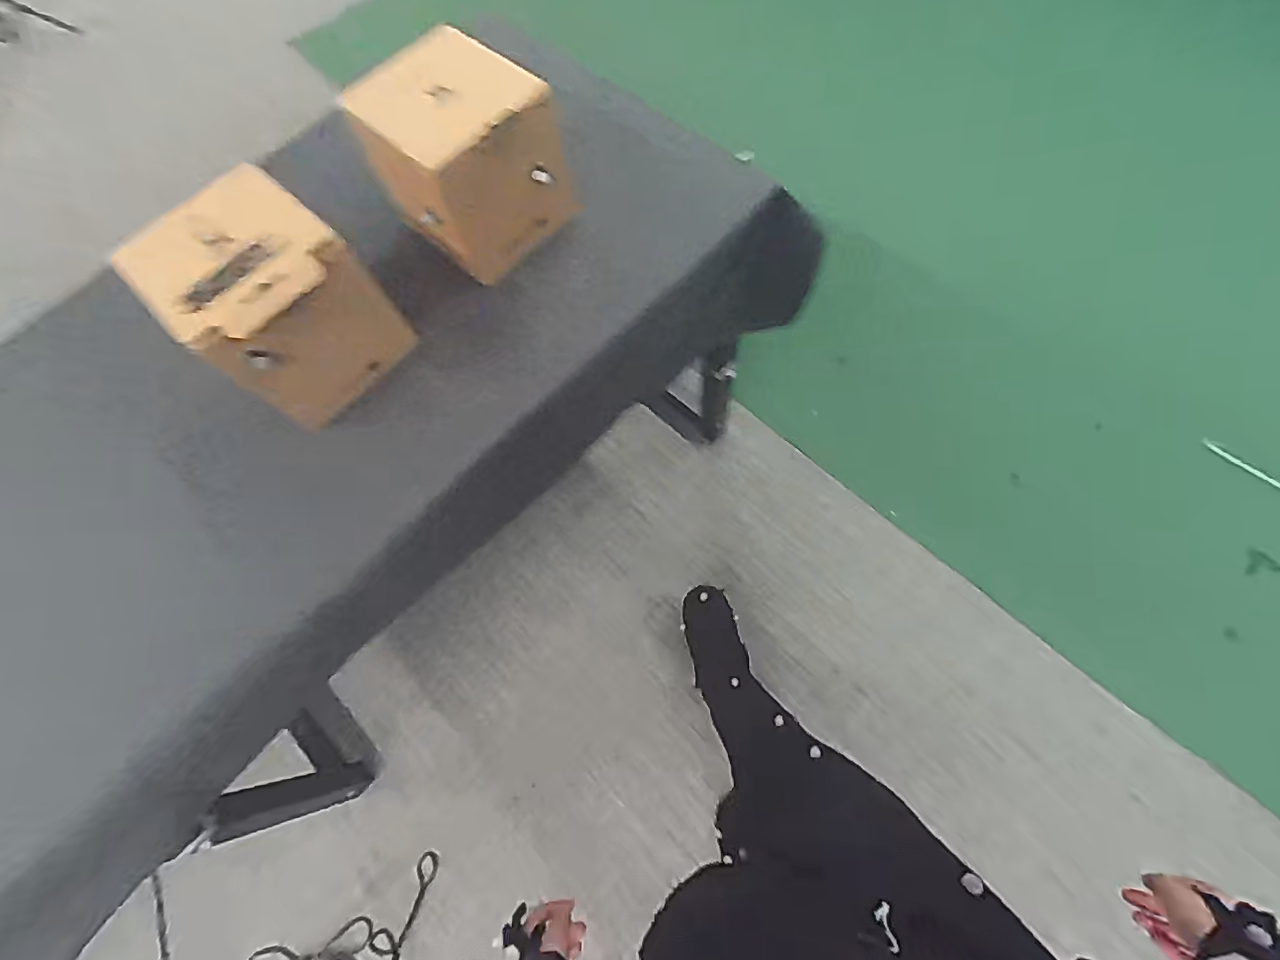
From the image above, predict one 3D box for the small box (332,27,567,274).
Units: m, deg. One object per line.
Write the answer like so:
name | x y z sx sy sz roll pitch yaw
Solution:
small box | -0.211 -0.381 0.650 0.179 0.176 0.168 40 76 19
